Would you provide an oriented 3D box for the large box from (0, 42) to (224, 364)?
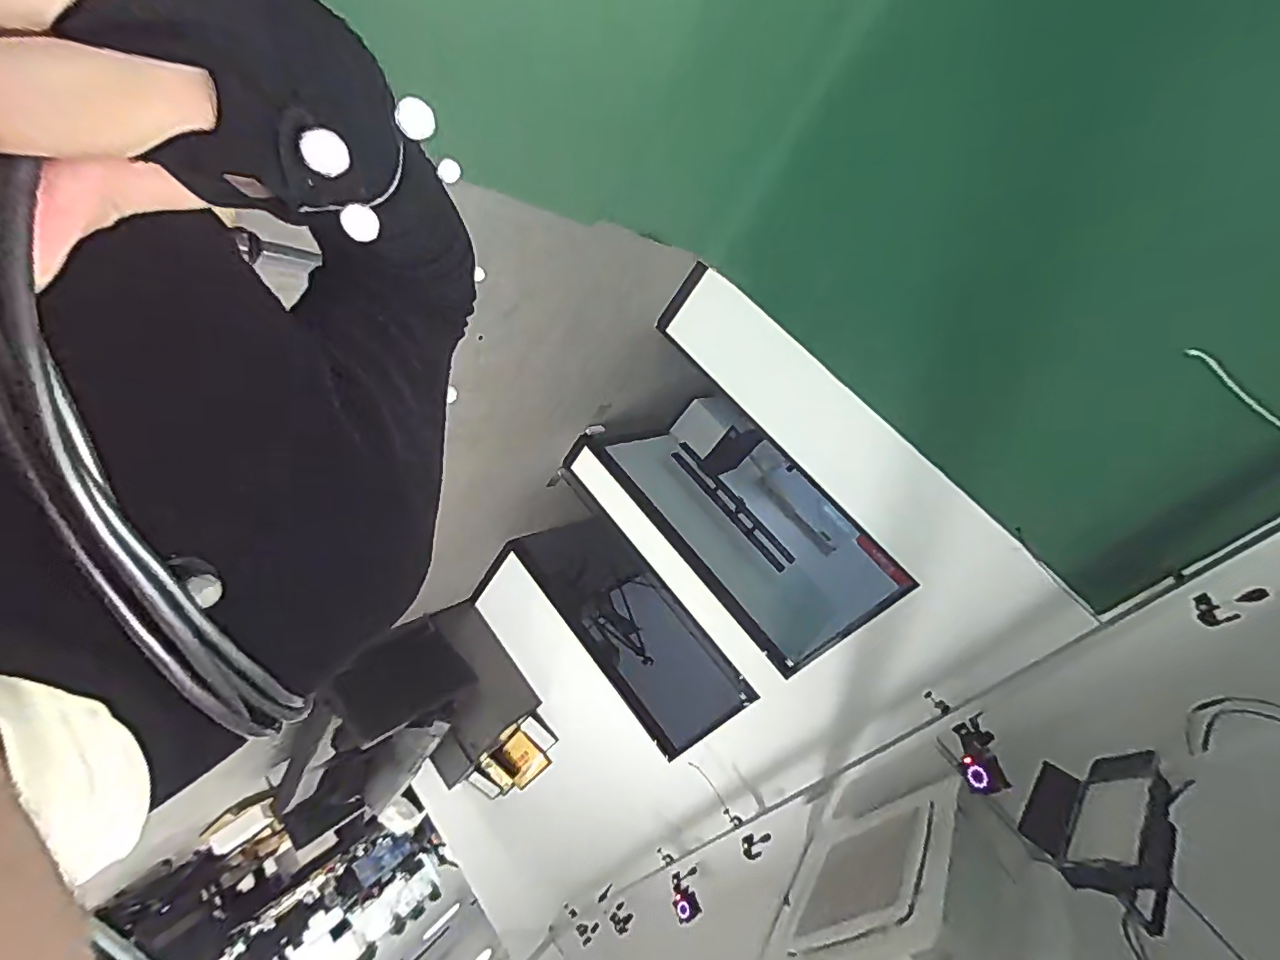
[{"bbox_3d":[-1.008,-0.461,0.941,0.408,0.320,0.320,-49,162,26],"label":"large box"}]
